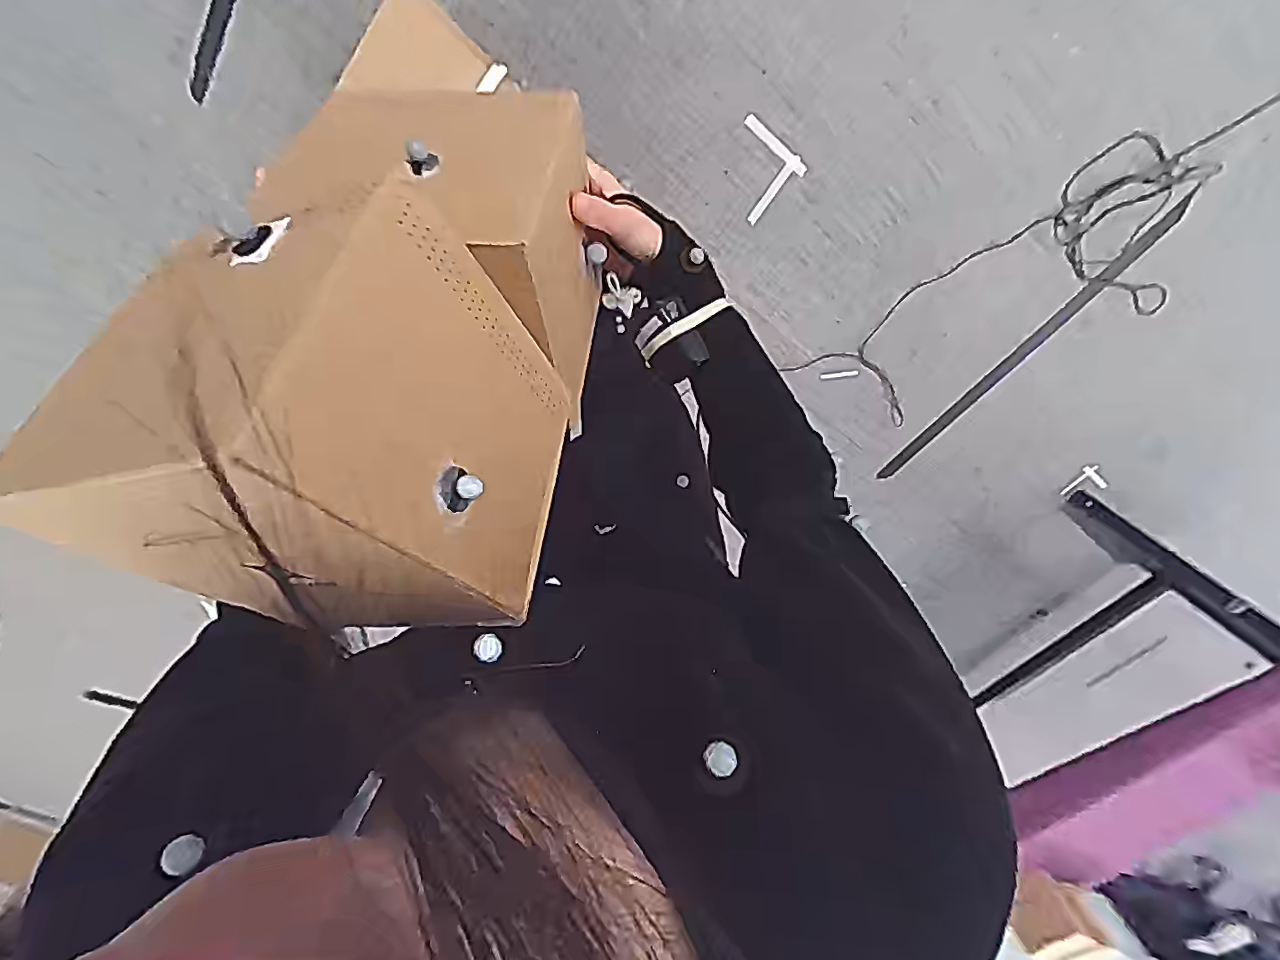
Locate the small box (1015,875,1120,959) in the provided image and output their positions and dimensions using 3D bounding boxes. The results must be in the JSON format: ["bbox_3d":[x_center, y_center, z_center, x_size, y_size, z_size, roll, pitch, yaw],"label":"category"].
[{"bbox_3d":[1.348,1.385,1.712,0.179,0.176,0.168,34,112,-28],"label":"small box"}]

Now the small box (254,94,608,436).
[{"bbox_3d":[-0.123,-0.154,0.399,0.179,0.176,0.168,4,149,3],"label":"small box"}]

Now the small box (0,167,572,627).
[{"bbox_3d":[-0.151,-0.026,0.298,0.168,0.176,0.179,-7,146,18],"label":"small box"}]
